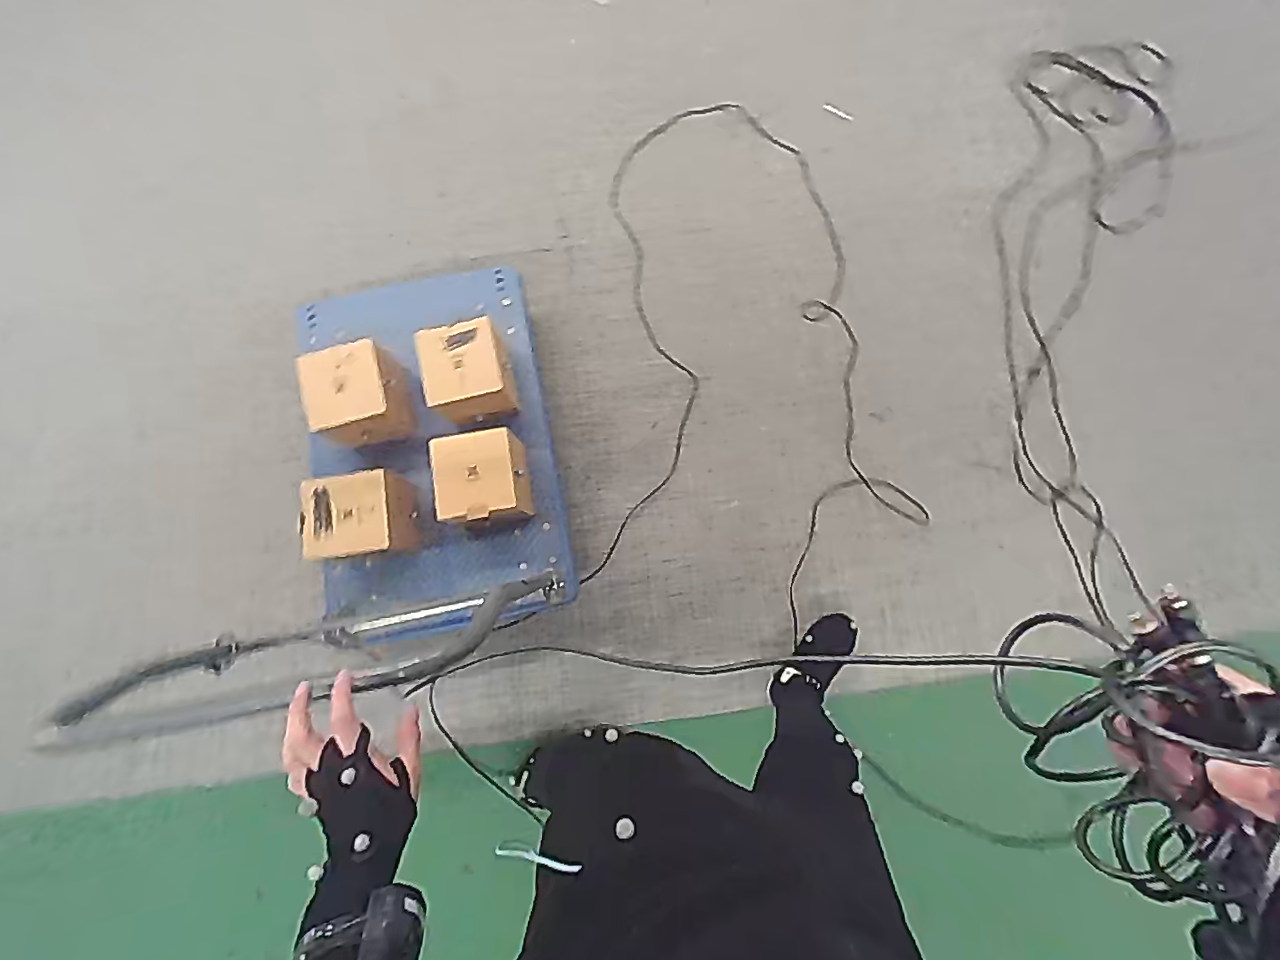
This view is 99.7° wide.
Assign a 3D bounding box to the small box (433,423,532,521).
[{"bbox_3d":[-0.343,-0.012,1.200,0.168,0.176,0.179,-9,81,-1],"label":"small box"}]

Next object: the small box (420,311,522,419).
[{"bbox_3d":[-0.381,-0.256,1.238,0.168,0.176,0.179,-12,82,-1],"label":"small box"}]

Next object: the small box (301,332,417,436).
[{"bbox_3d":[-0.630,-0.207,1.232,0.168,0.176,0.179,-14,81,-2],"label":"small box"}]
